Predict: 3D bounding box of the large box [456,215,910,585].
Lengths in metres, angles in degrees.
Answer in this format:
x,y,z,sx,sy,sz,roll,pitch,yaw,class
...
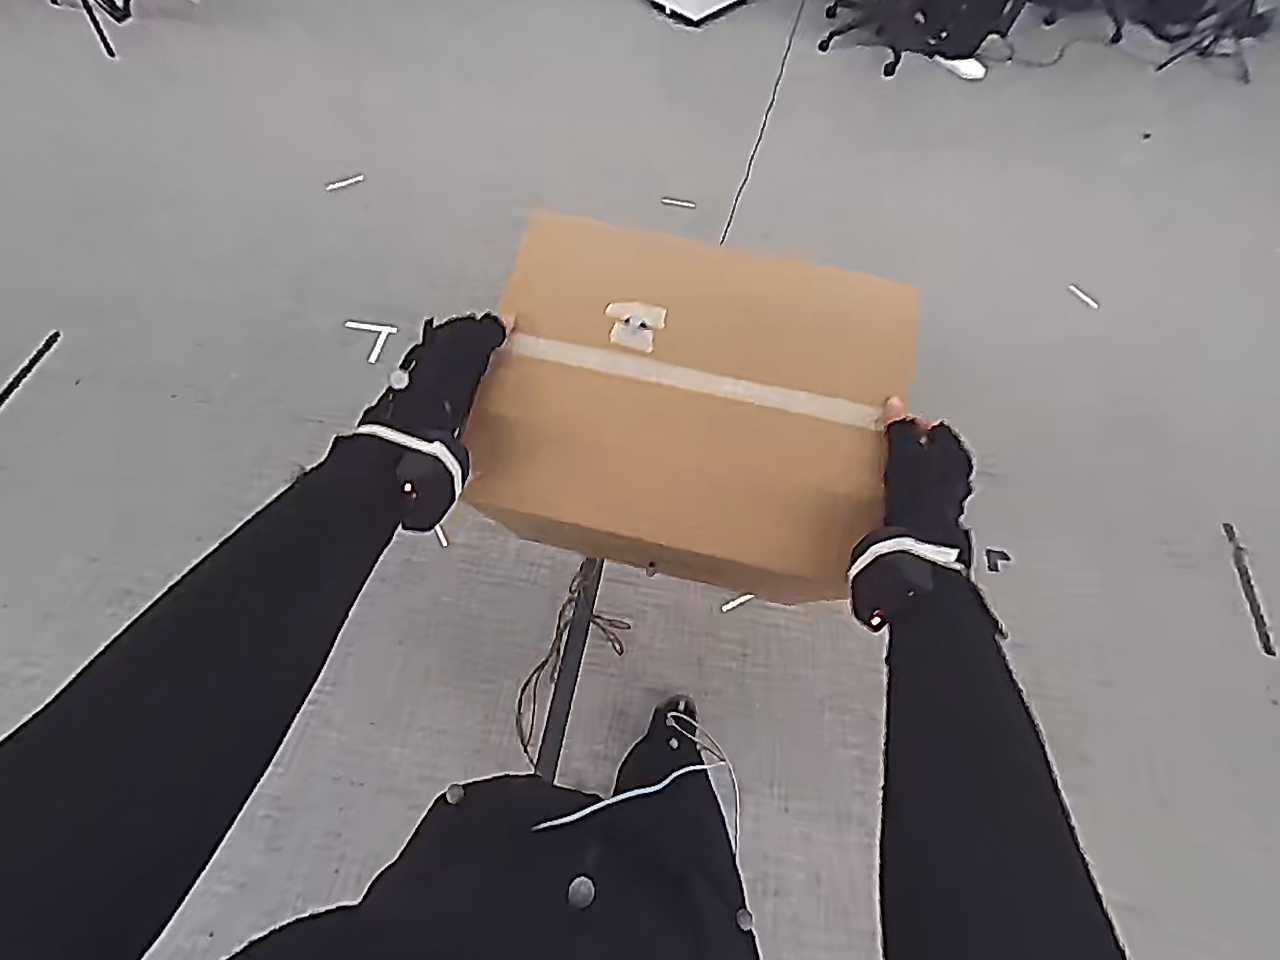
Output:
x,y,z,sx,sy,sz,roll,pitch,yaw,class
0.057,-0.066,0.676,0.408,0.320,0.320,13,76,5,large box
